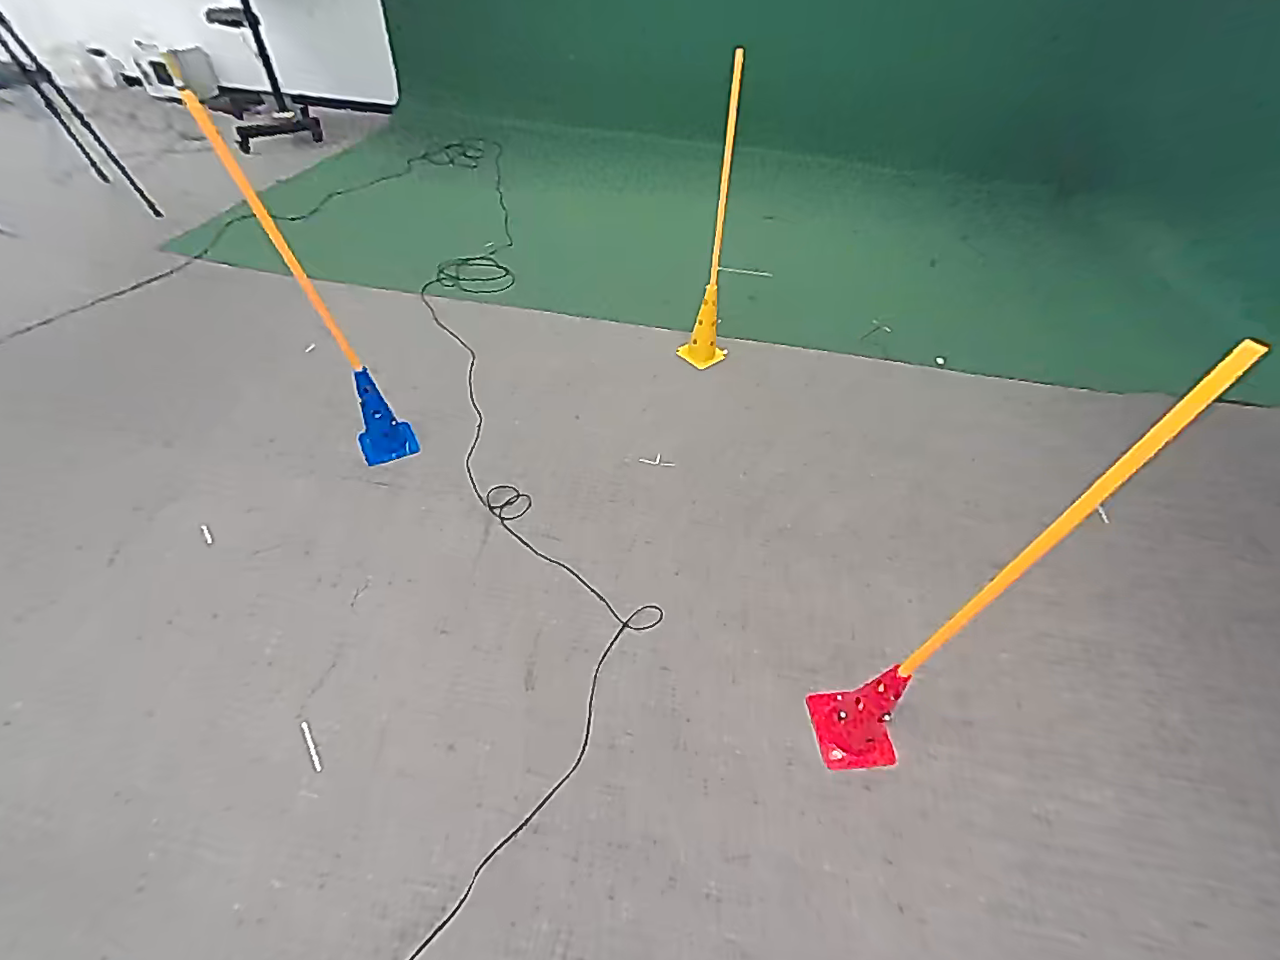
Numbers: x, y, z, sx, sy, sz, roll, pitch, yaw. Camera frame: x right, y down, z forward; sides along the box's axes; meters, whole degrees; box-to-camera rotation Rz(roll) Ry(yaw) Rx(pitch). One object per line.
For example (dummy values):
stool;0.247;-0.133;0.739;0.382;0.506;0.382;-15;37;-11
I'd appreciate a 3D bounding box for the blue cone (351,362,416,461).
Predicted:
blue cone;-0.978;-0.264;1.984;0.193;0.380;0.192;-23;54;-22
